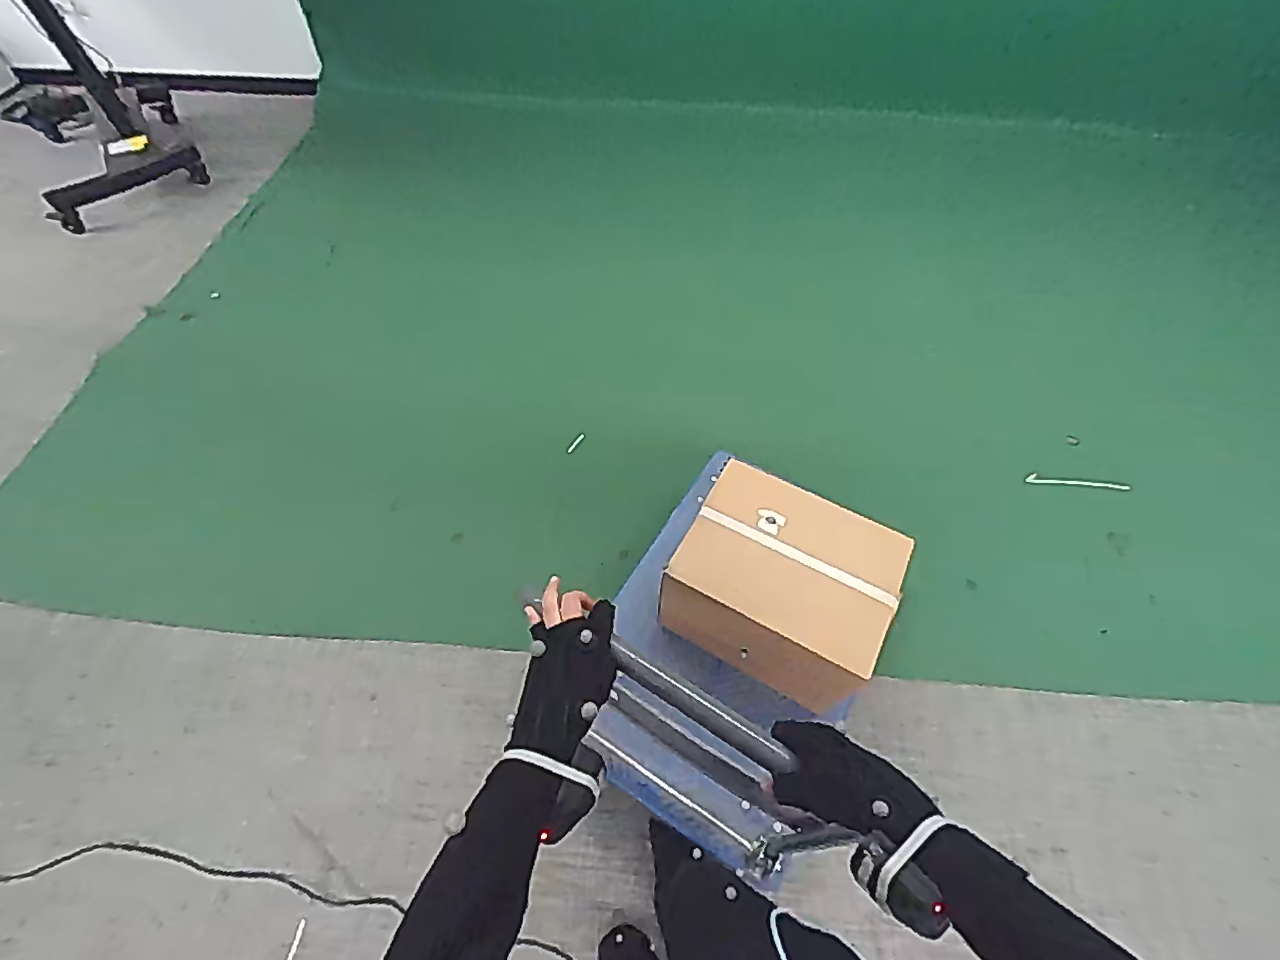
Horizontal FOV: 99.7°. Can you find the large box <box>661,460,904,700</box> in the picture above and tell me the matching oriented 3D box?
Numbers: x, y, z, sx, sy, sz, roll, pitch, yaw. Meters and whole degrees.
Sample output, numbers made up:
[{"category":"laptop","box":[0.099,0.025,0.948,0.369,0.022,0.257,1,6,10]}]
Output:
[{"category":"large box","box":[0.292,0.224,1.193,0.408,0.320,0.320,25,60,16]}]
